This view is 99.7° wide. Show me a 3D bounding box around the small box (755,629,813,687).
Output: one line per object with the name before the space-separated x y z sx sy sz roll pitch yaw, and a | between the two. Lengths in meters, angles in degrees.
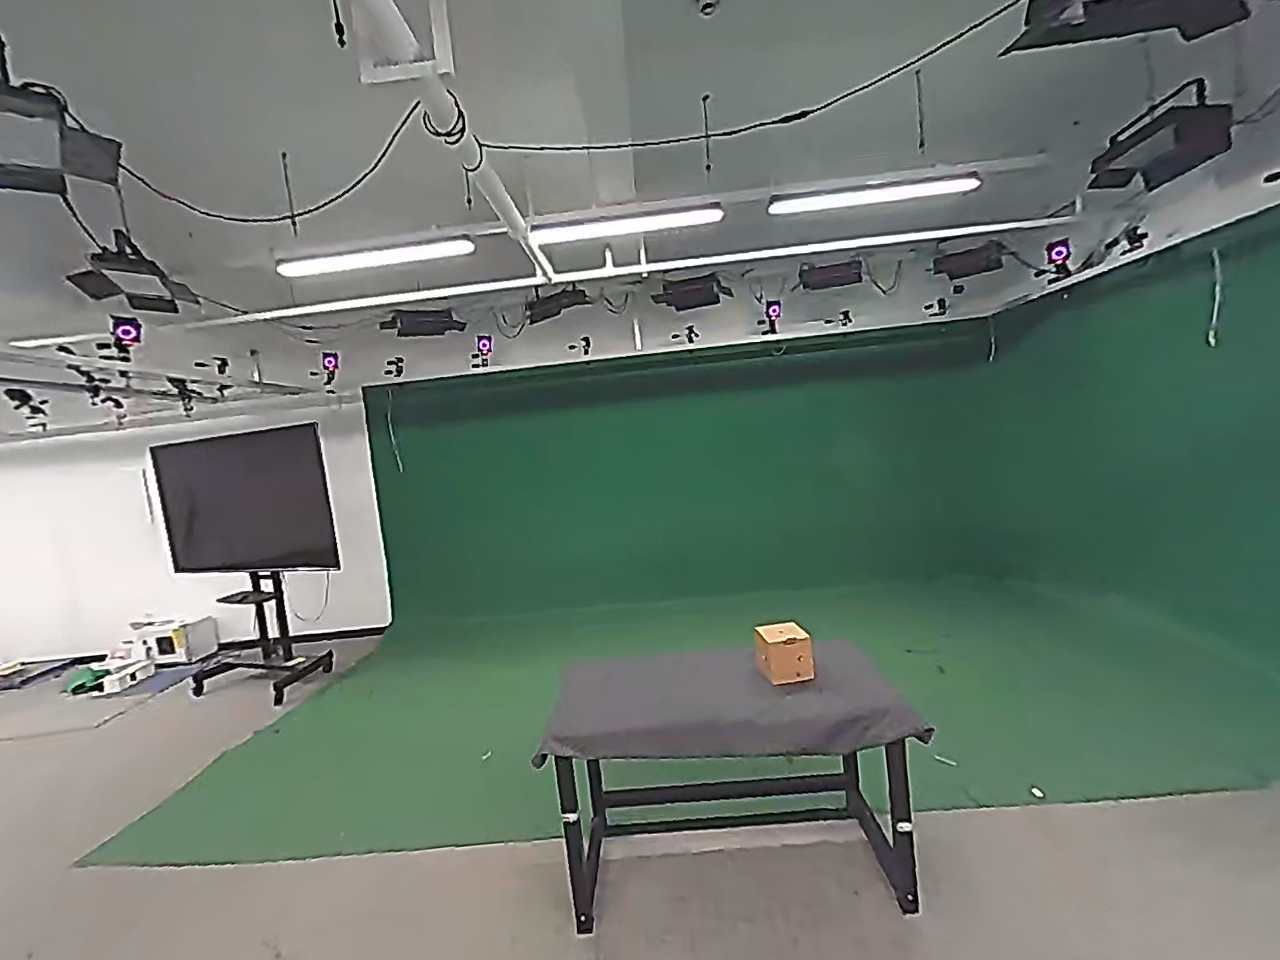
small box | 0.557 0.692 2.094 0.168 0.176 0.179 -4 2 -6
